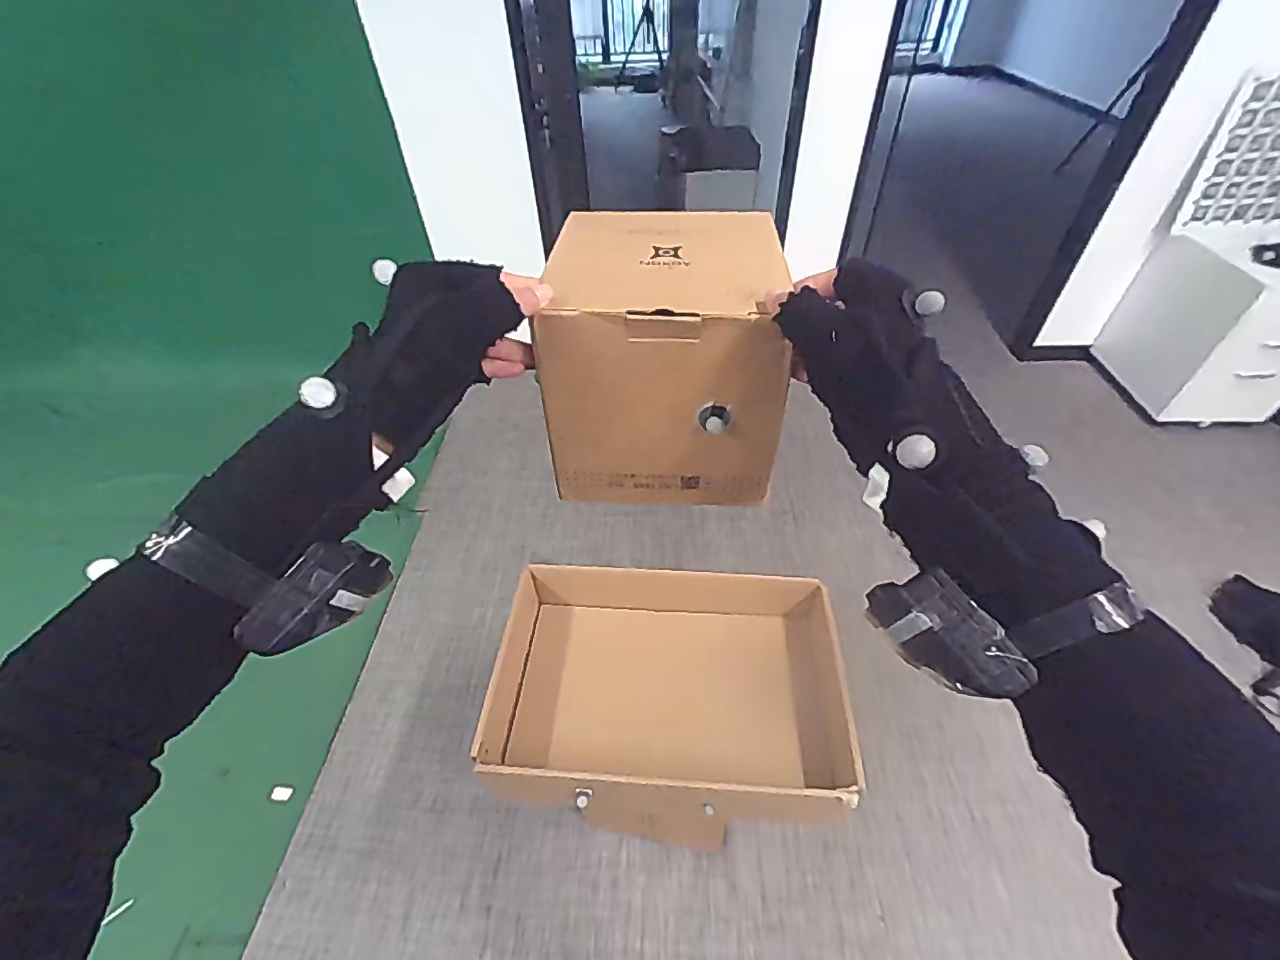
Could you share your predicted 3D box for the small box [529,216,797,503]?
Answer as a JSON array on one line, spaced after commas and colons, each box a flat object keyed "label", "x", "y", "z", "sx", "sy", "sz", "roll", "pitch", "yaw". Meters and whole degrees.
[{"label": "small box", "x": 0.020, "y": -0.097, "z": 0.436, "sx": 0.168, "sy": 0.176, "sz": 0.179, "roll": 2, "pitch": 43, "yaw": 2}]
